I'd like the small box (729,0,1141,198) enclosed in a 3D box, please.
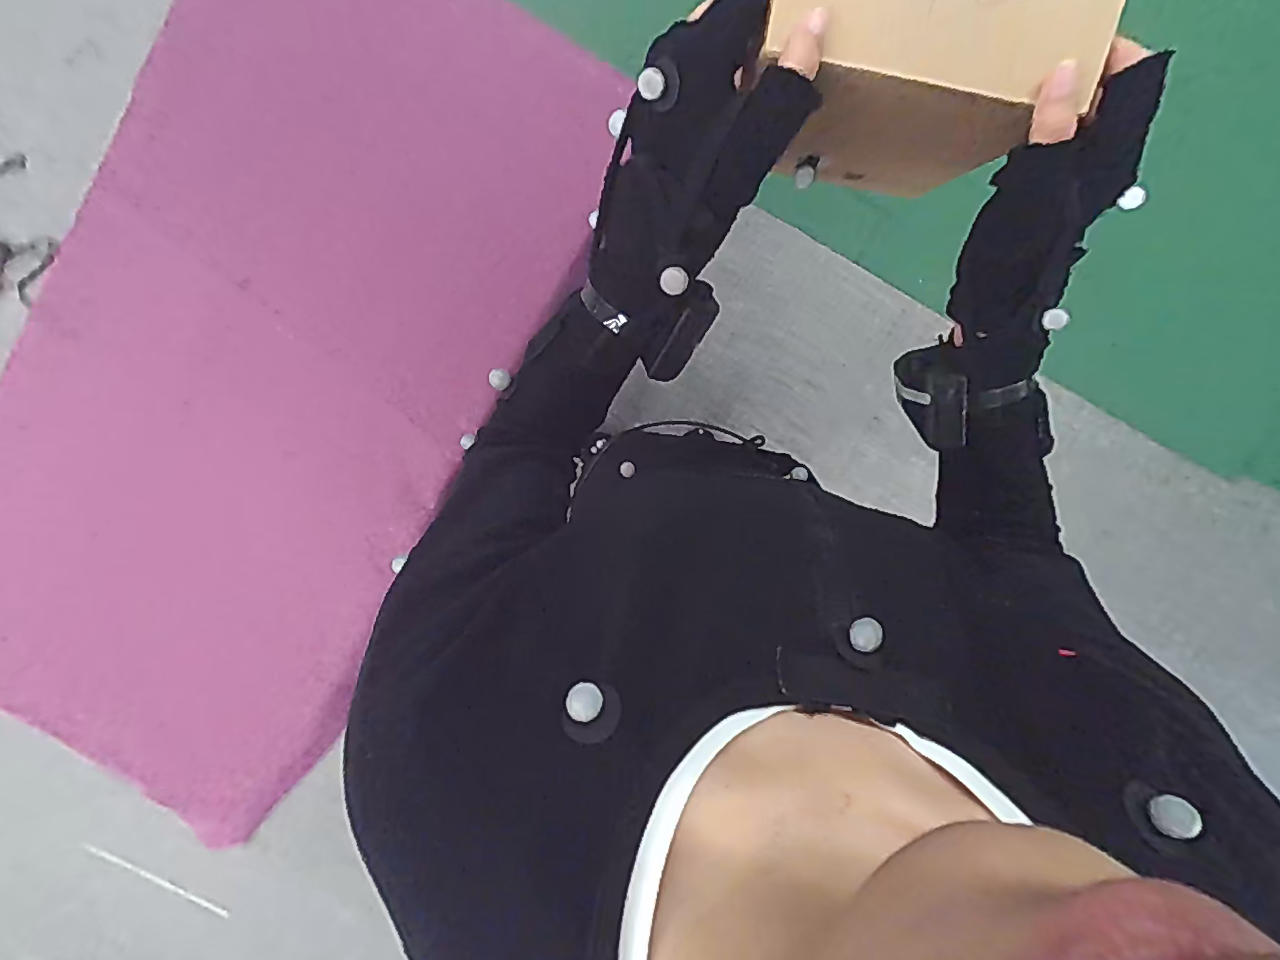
[{"bbox_3d":[0.158,-0.292,0.316,0.168,0.176,0.179,9,105,-3],"label":"small box"}]
